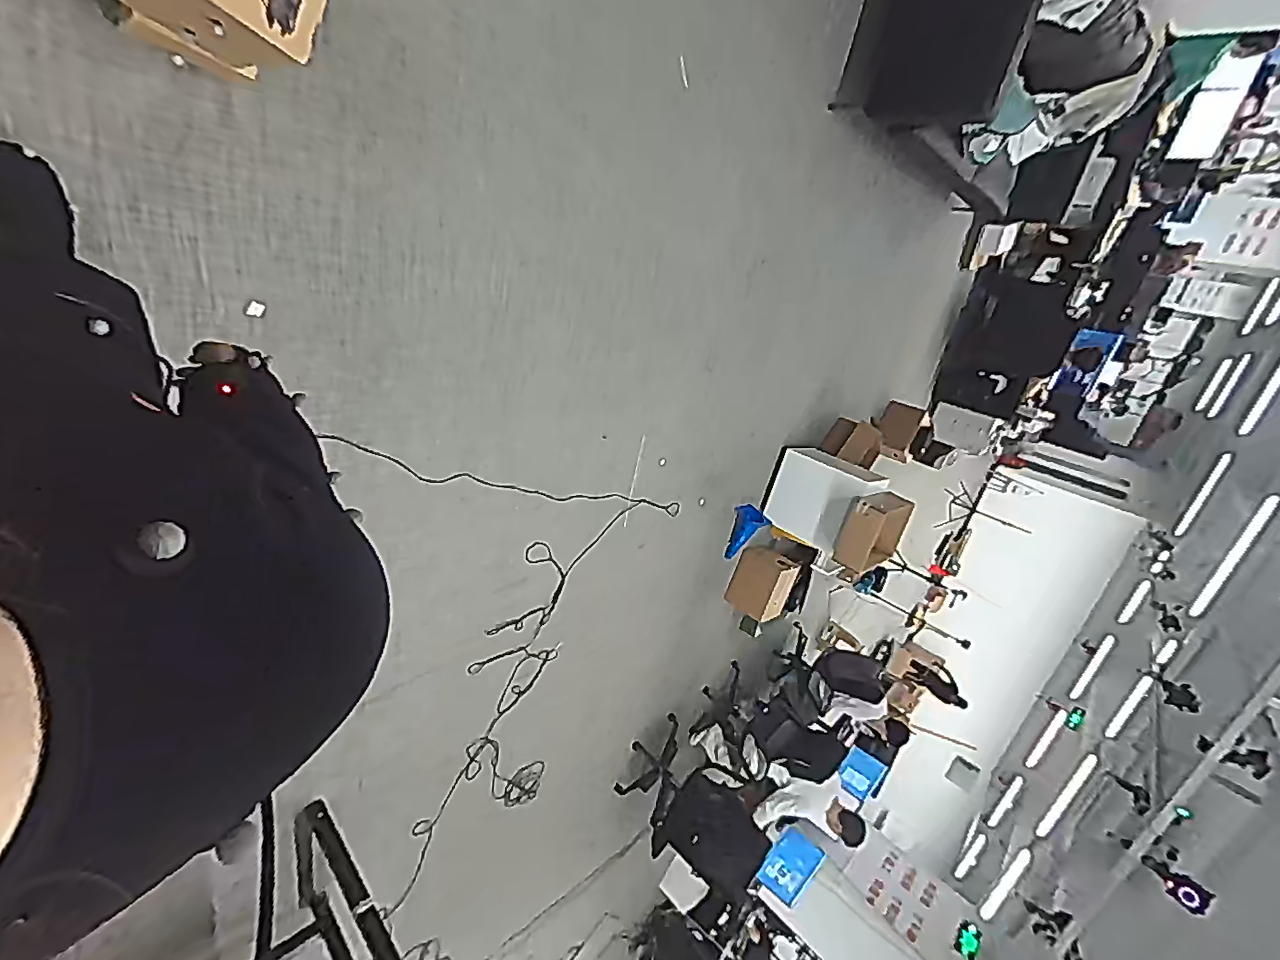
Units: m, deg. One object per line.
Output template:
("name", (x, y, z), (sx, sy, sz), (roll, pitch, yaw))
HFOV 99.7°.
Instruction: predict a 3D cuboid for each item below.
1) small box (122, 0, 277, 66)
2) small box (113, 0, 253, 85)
("small box", (-0.667, -0.765, 0.814), (0.168, 0.176, 0.179), (10, 106, -53))
("small box", (-0.774, -0.818, 0.927), (0.168, 0.176, 0.179), (3, 111, -51))
